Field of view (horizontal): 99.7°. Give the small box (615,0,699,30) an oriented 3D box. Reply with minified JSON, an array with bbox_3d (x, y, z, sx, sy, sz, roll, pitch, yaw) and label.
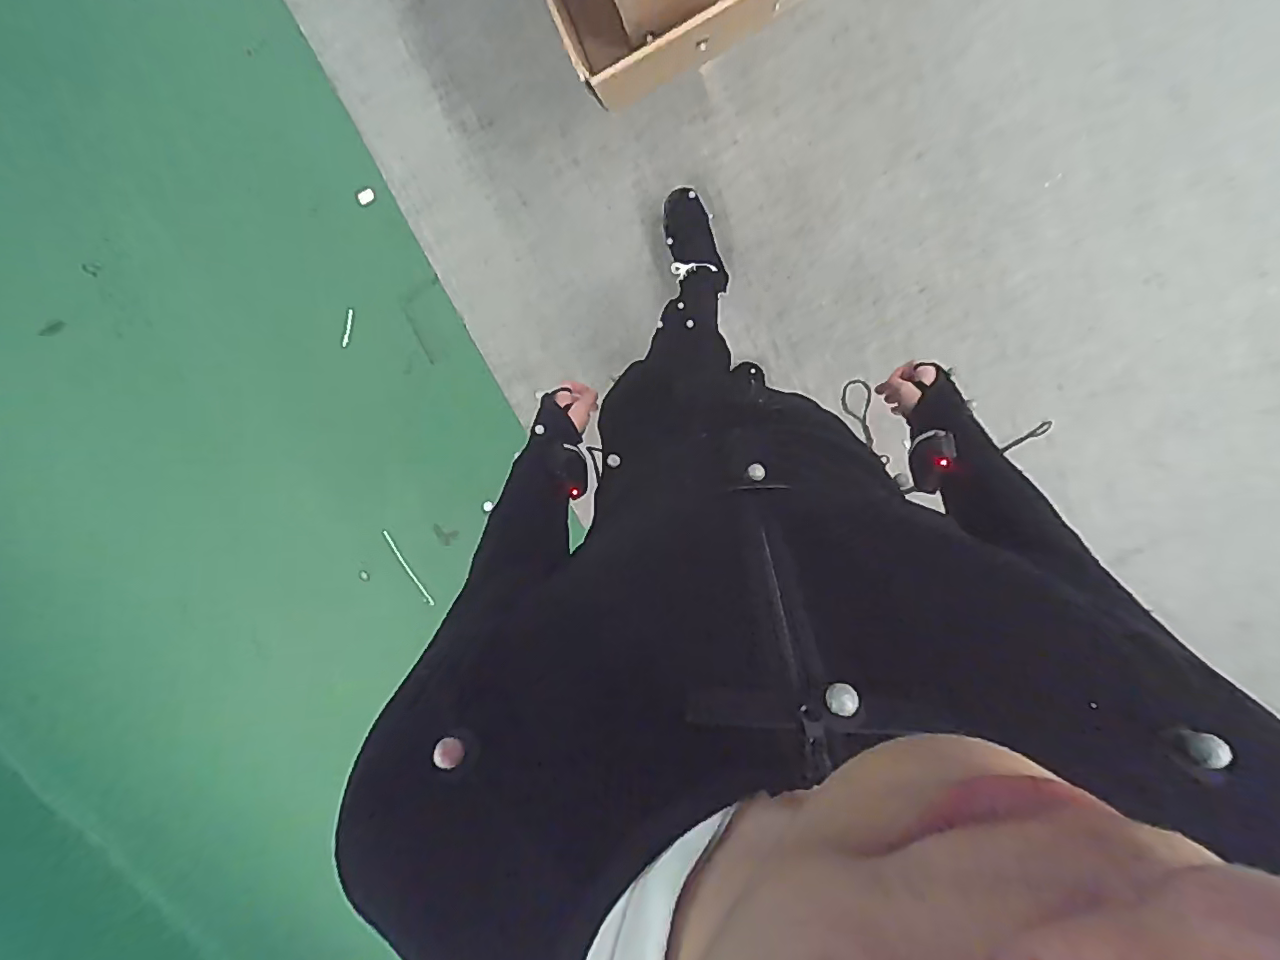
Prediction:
[{"bbox_3d":[0.016,-0.843,0.831,0.168,0.176,0.179,-20,105,14],"label":"small box"}]
